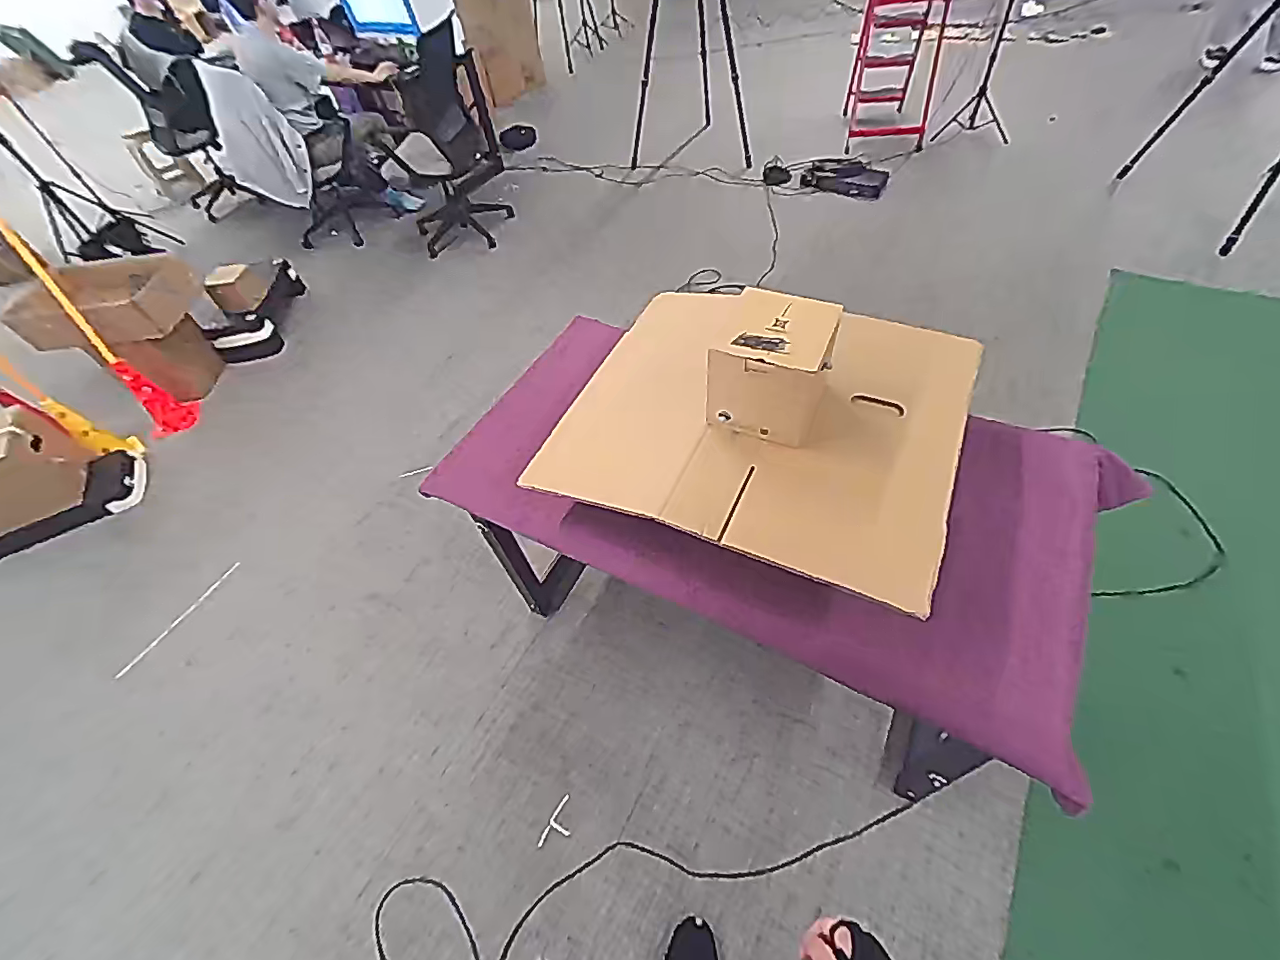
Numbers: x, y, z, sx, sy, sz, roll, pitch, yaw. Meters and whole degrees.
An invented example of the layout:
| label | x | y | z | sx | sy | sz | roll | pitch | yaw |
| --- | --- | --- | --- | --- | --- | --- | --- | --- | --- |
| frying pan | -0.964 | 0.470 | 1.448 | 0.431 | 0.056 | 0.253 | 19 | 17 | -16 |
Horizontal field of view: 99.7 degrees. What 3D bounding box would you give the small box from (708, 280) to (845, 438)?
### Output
| label | x | y | z | sx | sy | sz | roll | pitch | yaw |
| --- | --- | --- | --- | --- | --- | --- | --- | --- | --- |
| small box | 0.221 | -0.198 | 0.897 | 0.168 | 0.176 | 0.179 | 19 | 57 | 19 |
